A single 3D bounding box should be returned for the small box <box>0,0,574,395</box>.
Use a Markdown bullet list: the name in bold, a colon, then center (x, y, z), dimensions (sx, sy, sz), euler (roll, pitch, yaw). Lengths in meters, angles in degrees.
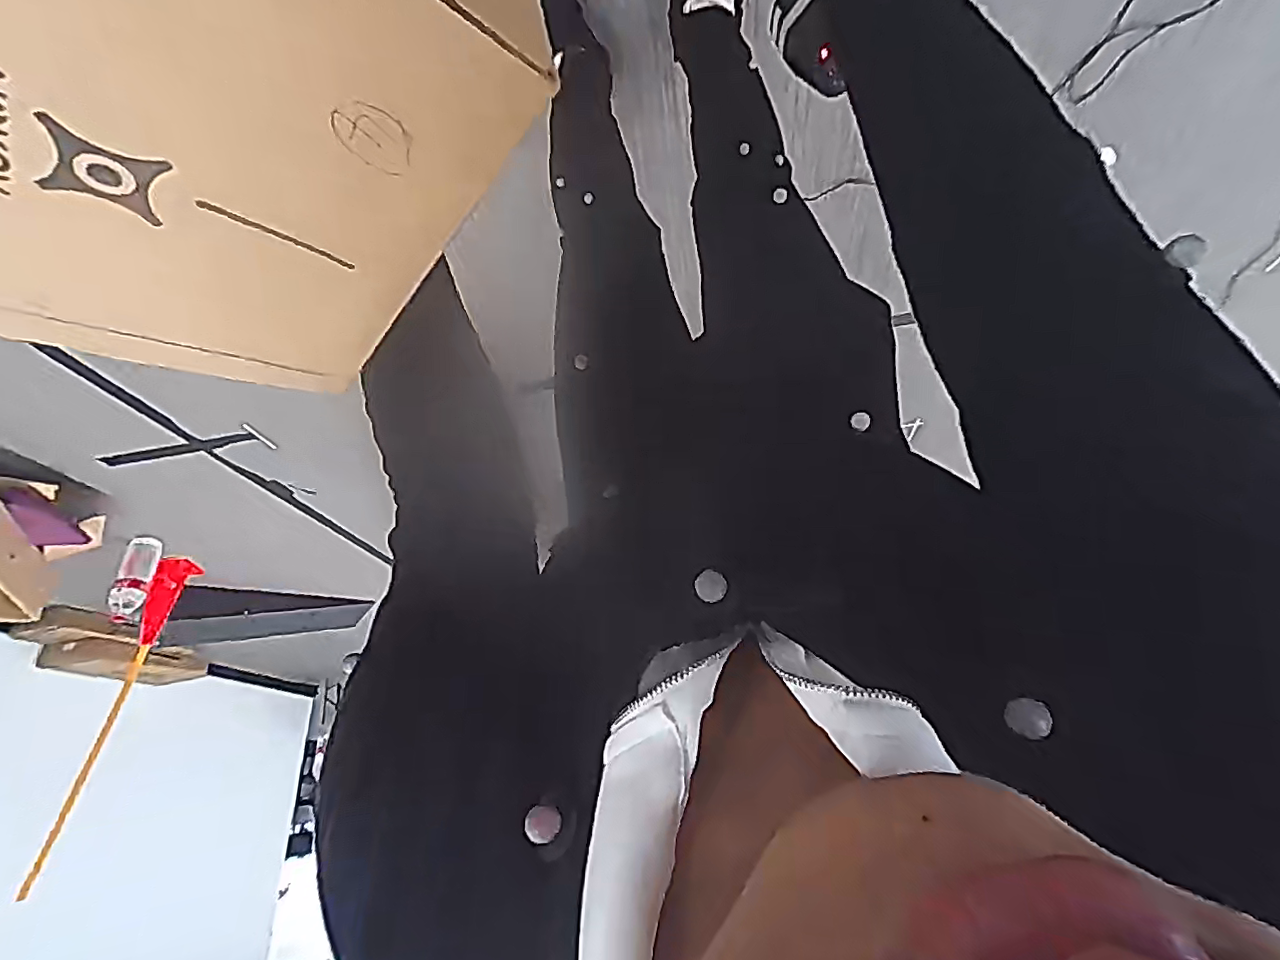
- **small box**: center (-0.147, -0.152, 0.147), dimensions (0.179, 0.176, 0.168), euler (9, 151, -45)
